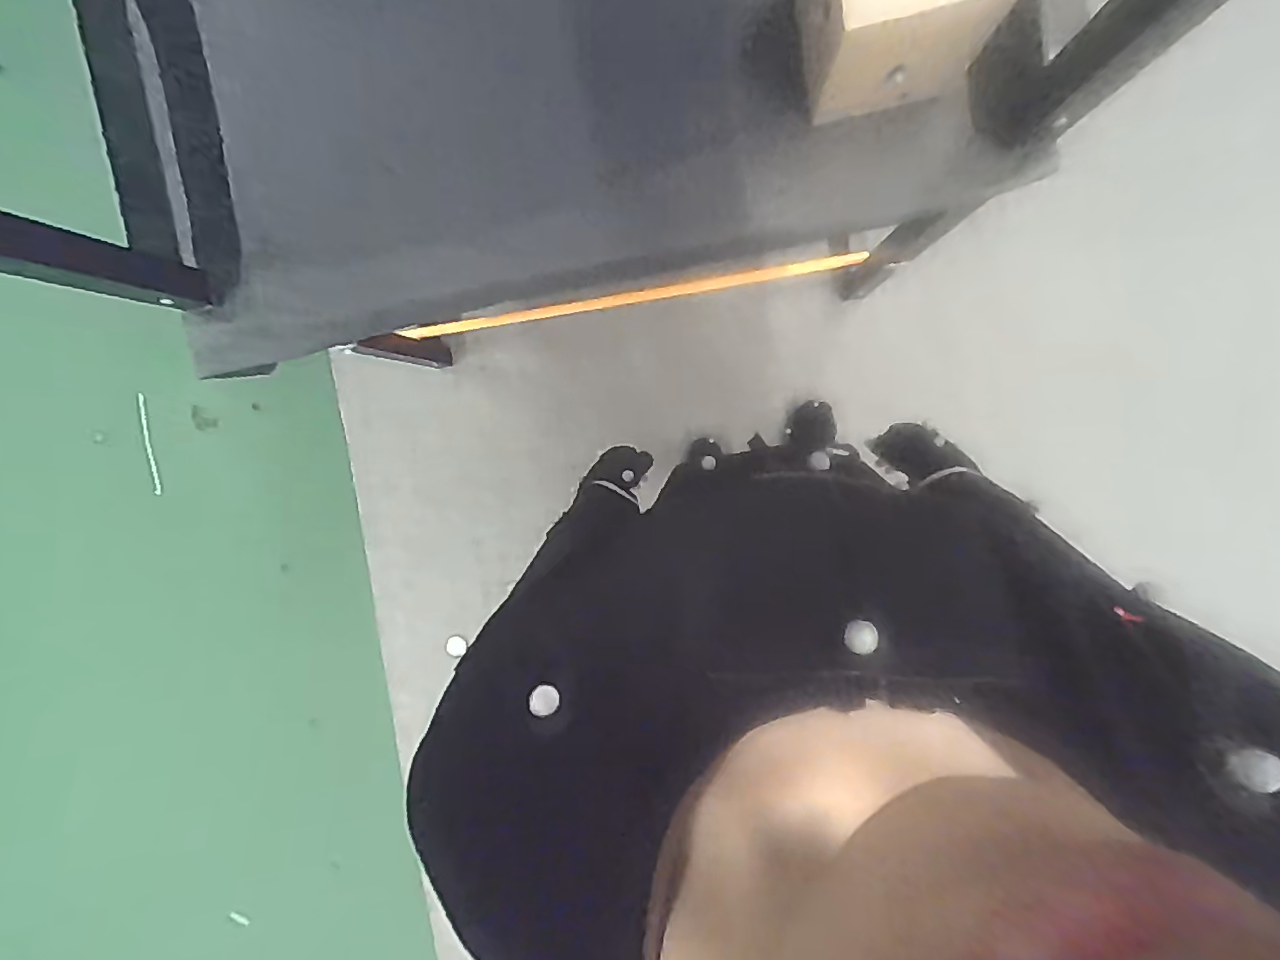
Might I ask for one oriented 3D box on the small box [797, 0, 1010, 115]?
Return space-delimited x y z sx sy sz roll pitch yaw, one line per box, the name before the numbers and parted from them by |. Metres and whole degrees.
small box | 0.274 -0.533 0.585 0.168 0.176 0.179 -9 94 8
